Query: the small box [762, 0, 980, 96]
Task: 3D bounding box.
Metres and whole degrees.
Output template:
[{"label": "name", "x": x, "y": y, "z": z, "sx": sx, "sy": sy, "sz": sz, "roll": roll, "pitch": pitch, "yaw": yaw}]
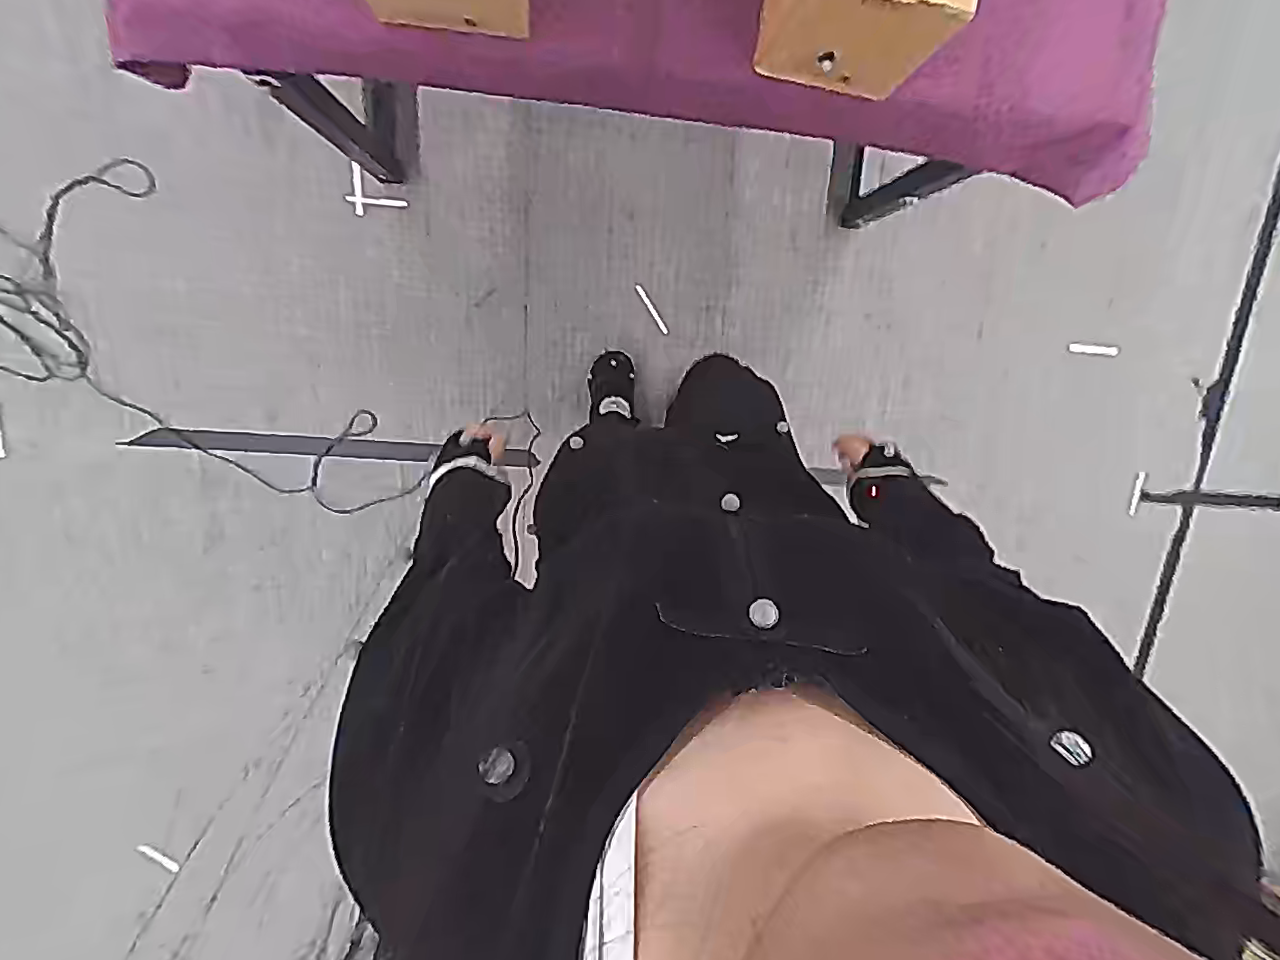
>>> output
[{"label": "small box", "x": 0.239, "y": -0.544, "z": 0.557, "sx": 0.168, "sy": 0.176, "sz": 0.179, "roll": 7, "pitch": 102, "yaw": -7}]
